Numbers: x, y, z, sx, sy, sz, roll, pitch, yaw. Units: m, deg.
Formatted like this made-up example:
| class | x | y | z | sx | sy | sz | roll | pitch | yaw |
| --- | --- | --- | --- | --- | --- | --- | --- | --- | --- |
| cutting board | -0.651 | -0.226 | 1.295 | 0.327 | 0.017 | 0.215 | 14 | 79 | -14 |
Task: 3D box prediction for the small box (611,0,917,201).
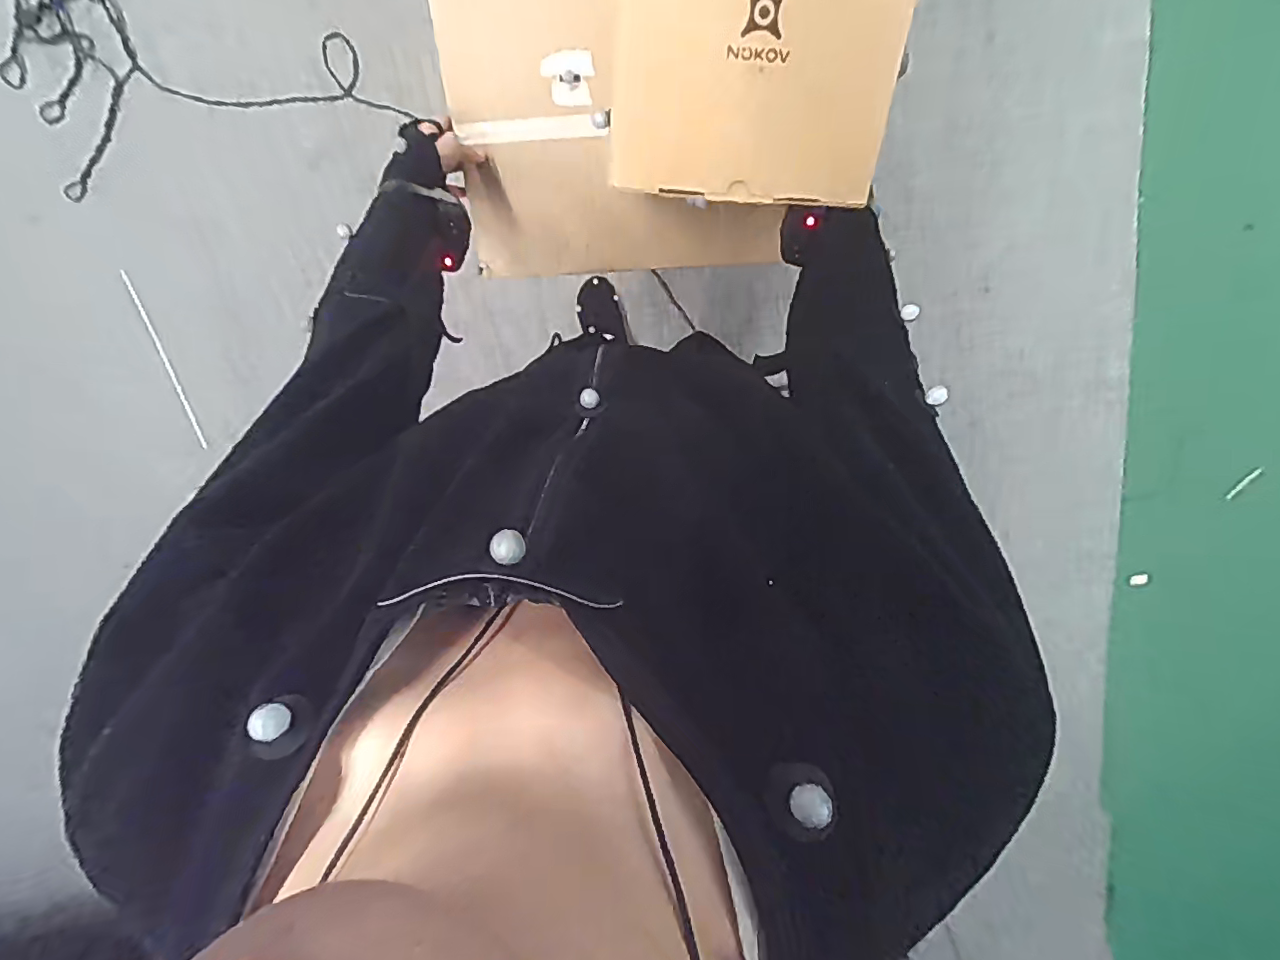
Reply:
| class | x | y | z | sx | sy | sz | roll | pitch | yaw |
| --- | --- | --- | --- | --- | --- | --- | --- | --- | --- |
| small box | 0.069 | -0.297 | 0.365 | 0.168 | 0.176 | 0.179 | 4 | 121 | -1 |
